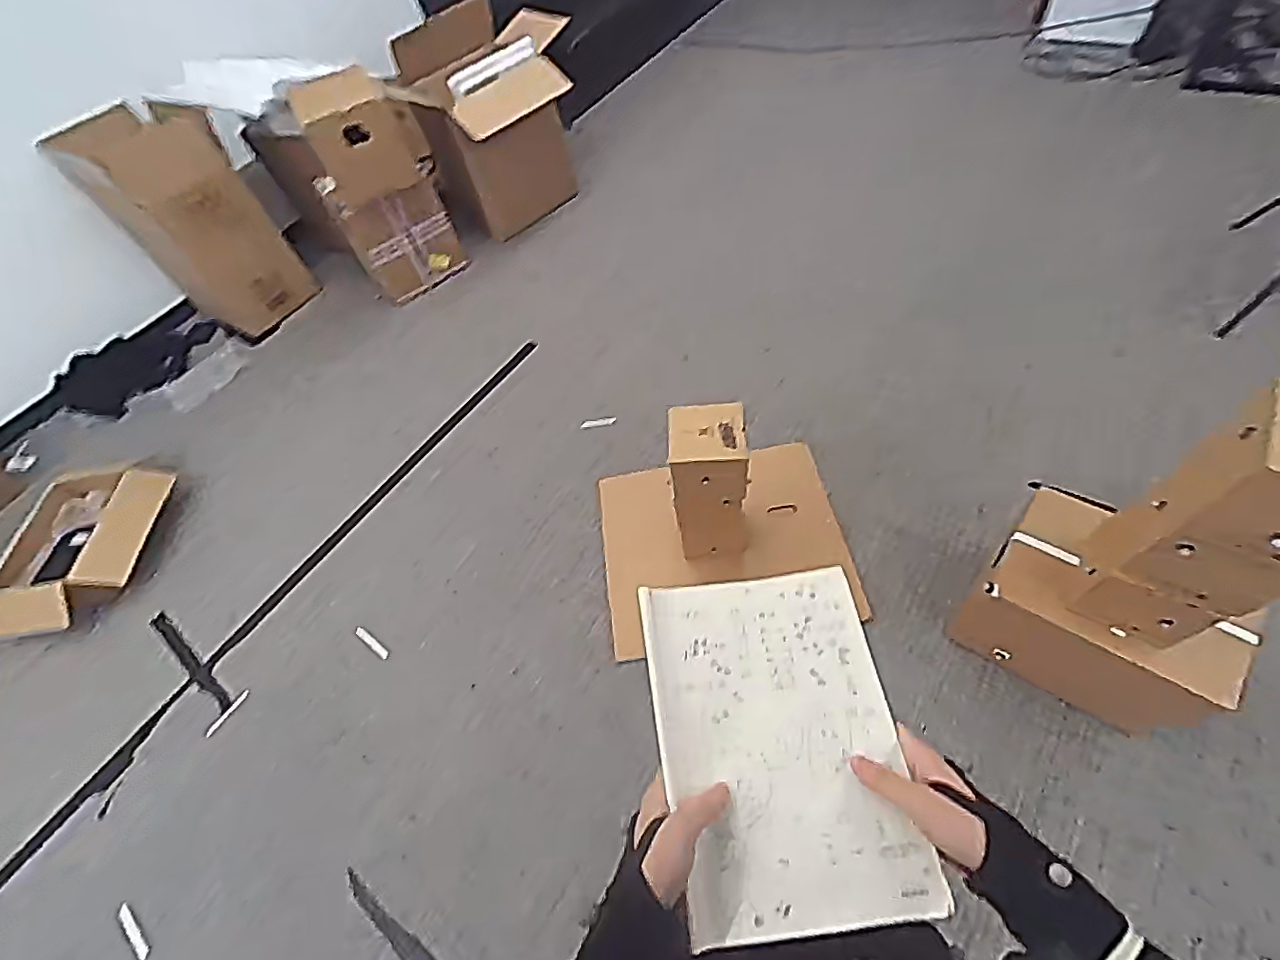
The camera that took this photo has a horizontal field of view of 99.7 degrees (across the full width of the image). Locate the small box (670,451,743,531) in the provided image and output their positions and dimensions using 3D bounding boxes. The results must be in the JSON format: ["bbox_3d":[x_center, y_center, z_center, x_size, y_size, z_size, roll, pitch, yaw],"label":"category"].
[{"bbox_3d":[0.176,0.024,1.425,0.179,0.176,0.168,-5,55,5],"label":"small box"}]

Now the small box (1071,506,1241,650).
[{"bbox_3d":[0.942,0.186,1.001,0.168,0.176,0.179,25,64,23],"label":"small box"}]

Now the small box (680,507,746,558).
[{"bbox_3d":[0.203,0.114,1.558,0.179,0.176,0.168,-6,55,4],"label":"small box"}]

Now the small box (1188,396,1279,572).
[{"bbox_3d":[0.900,0.009,0.726,0.168,0.176,0.179,26,65,25],"label":"small box"}]

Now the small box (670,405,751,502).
[{"bbox_3d":[0.166,-0.059,1.281,0.179,0.176,0.168,-2,55,8],"label":"small box"}]
